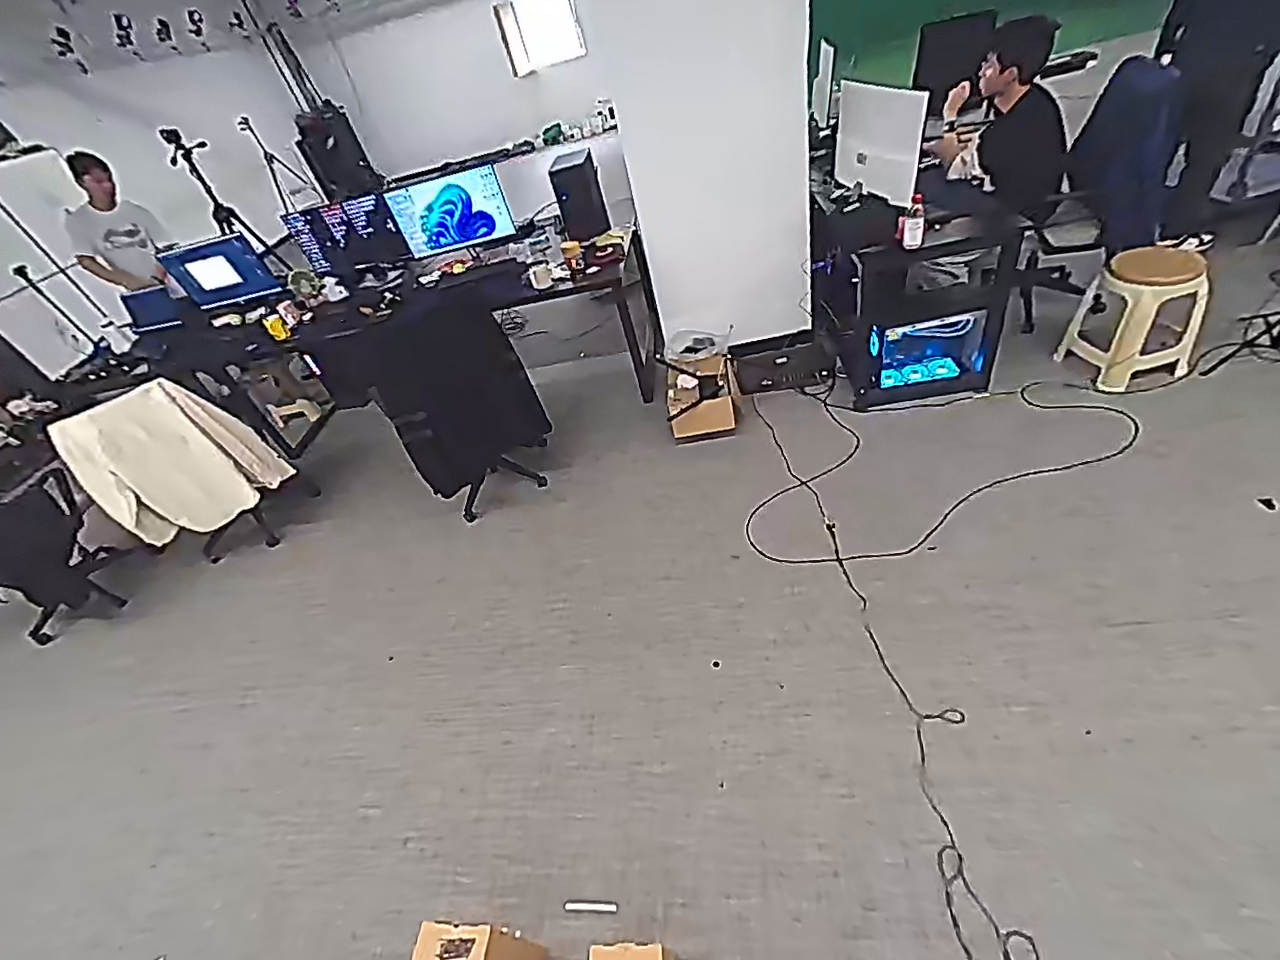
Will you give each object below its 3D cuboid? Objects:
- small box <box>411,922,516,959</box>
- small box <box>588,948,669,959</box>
[{"bbox_3d":[-0.377,1.059,1.131,0.168,0.176,0.179,-7,42,13],"label":"small box"},{"bbox_3d":[-0.018,1.140,1.170,0.168,0.176,0.179,-9,41,10],"label":"small box"}]
